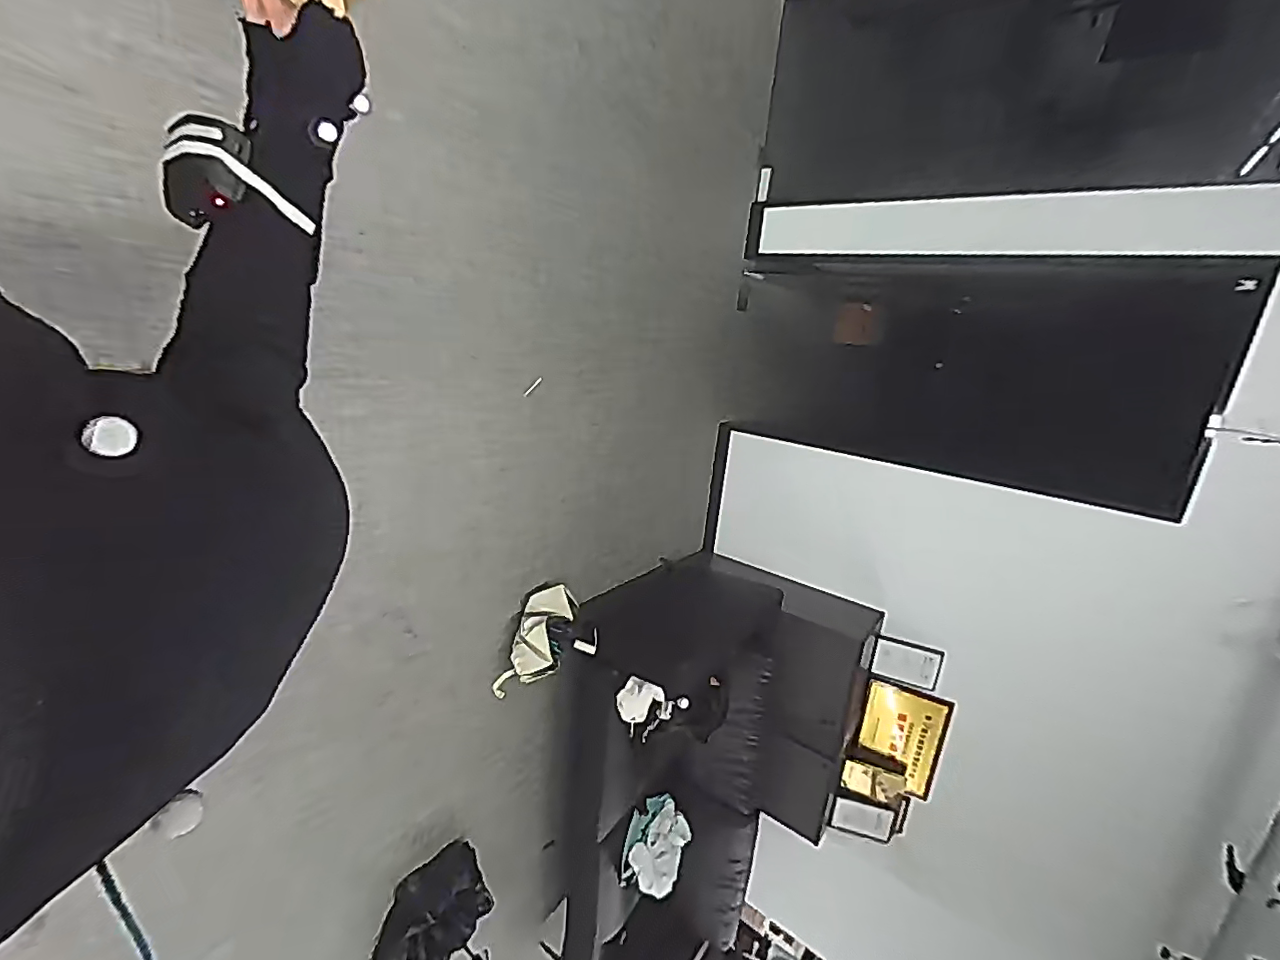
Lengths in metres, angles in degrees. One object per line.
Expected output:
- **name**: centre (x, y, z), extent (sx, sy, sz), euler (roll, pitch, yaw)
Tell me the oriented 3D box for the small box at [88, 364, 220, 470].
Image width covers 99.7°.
- **small box**: centre (-0.974, -0.125, 1.085), extent (0.168, 0.176, 0.179), euler (-5, 108, -55)
